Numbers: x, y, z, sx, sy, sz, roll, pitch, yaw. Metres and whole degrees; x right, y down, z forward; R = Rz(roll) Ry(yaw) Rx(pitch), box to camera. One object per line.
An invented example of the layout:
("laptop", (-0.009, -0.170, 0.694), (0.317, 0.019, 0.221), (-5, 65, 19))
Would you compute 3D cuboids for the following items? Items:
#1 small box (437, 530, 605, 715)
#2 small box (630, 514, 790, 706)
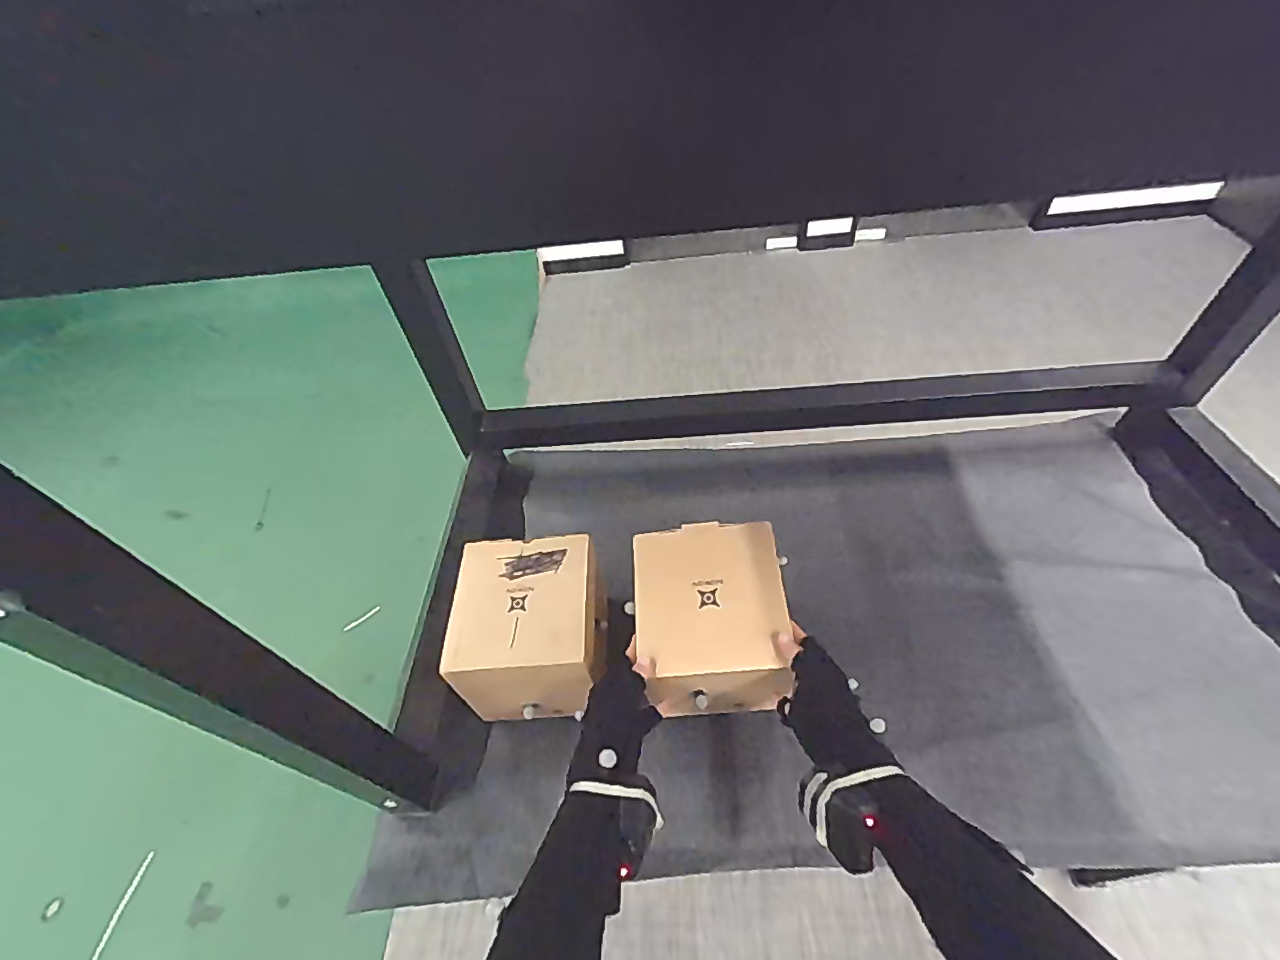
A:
("small box", (-0.139, 0.187, 0.708), (0.168, 0.176, 0.179), (-5, 48, 3))
("small box", (0.083, 0.166, 0.660), (0.168, 0.176, 0.179), (-7, 52, 6))
